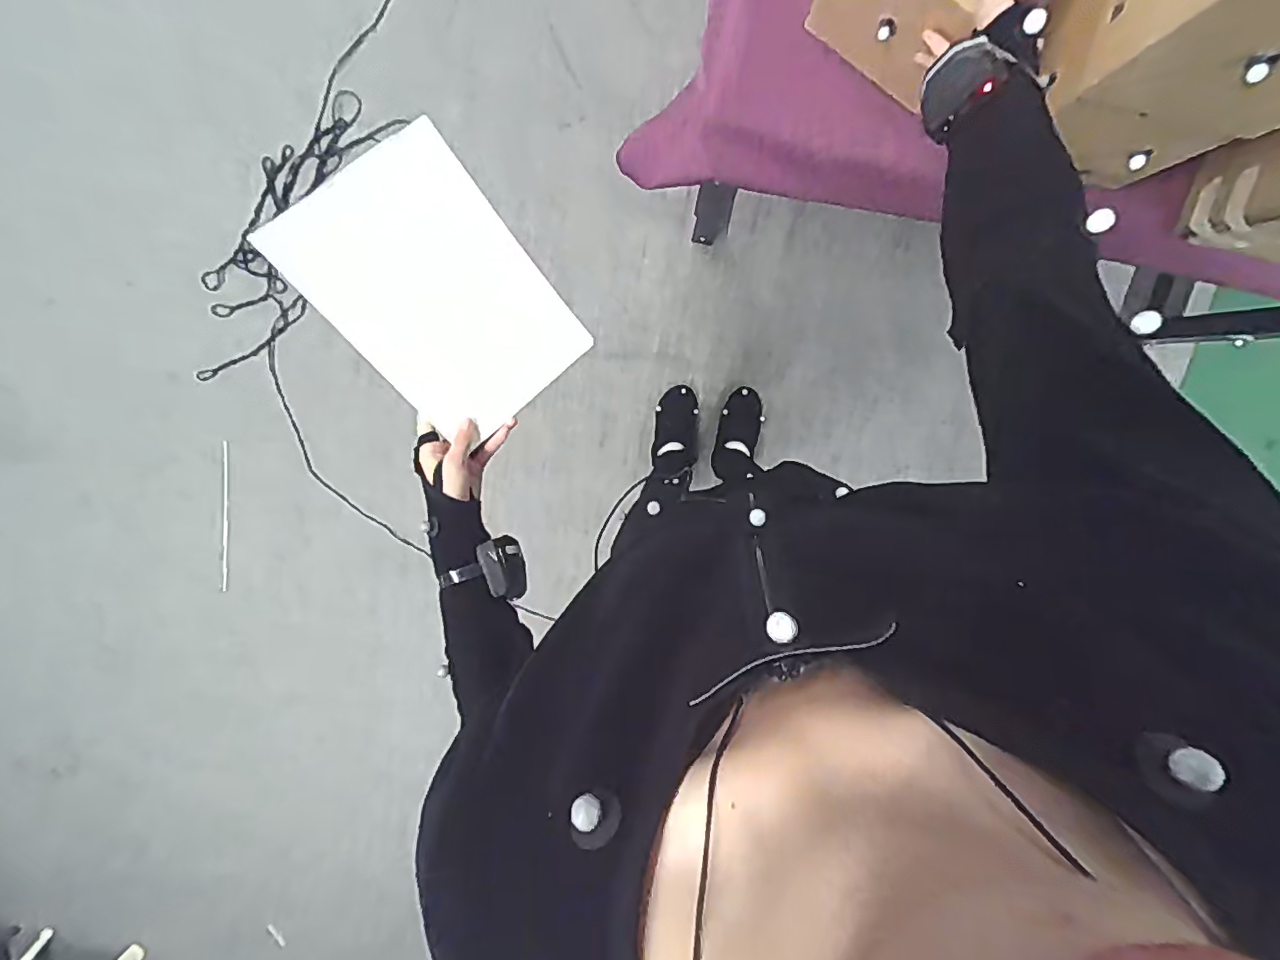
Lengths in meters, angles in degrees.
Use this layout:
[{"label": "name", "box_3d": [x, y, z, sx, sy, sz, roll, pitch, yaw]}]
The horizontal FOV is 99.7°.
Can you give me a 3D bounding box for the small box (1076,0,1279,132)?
[{"label": "small box", "box_3d": [0.504, -0.402, 0.415, 0.179, 0.176, 0.168, 13, 100, 0]}]
